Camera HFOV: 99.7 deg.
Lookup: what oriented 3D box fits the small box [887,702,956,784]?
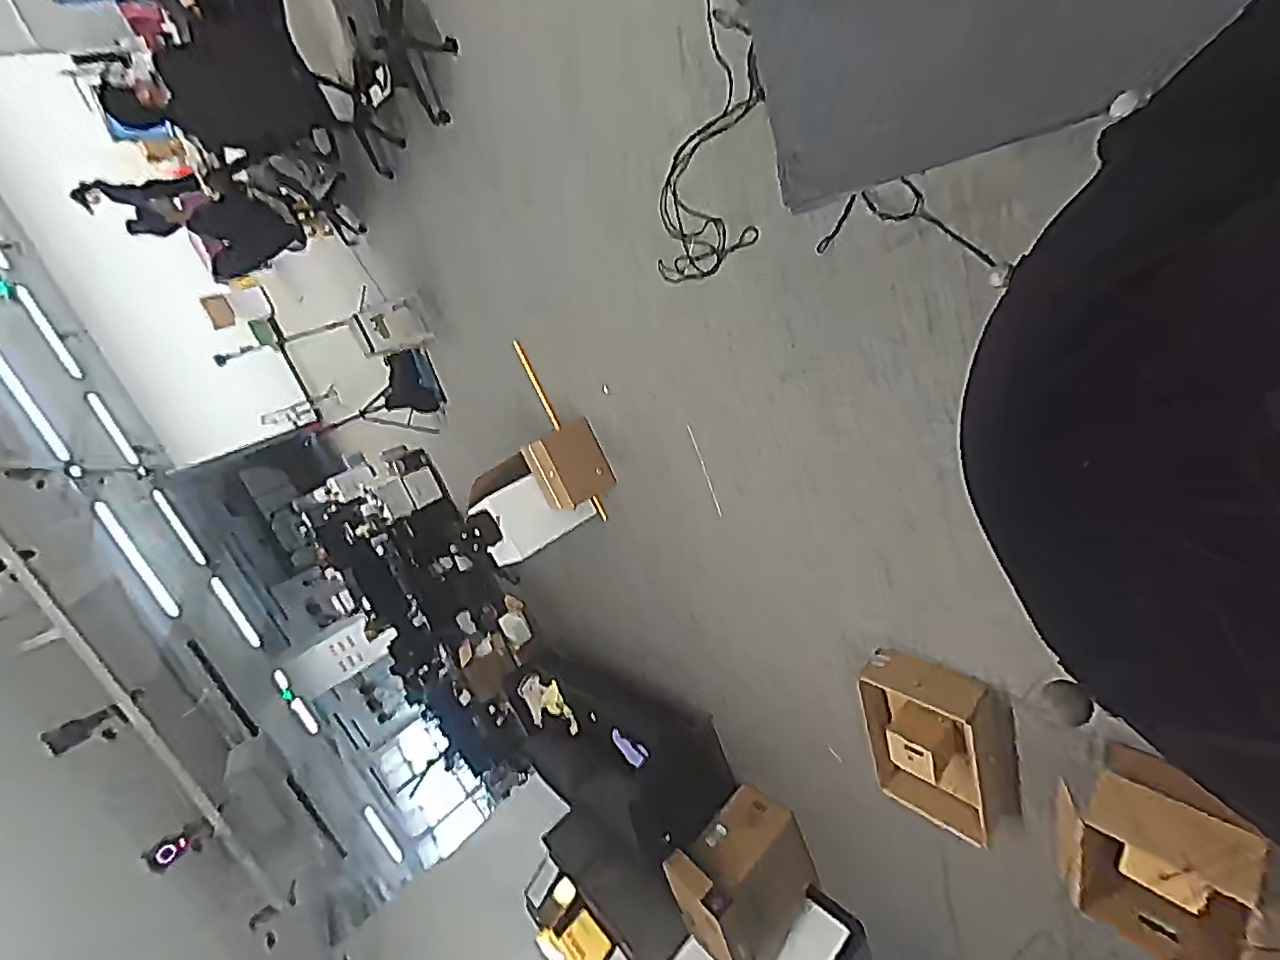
[{"bbox_3d":[1.031,0.952,1.975,0.168,0.176,0.179,13,128,51],"label":"small box"}]
